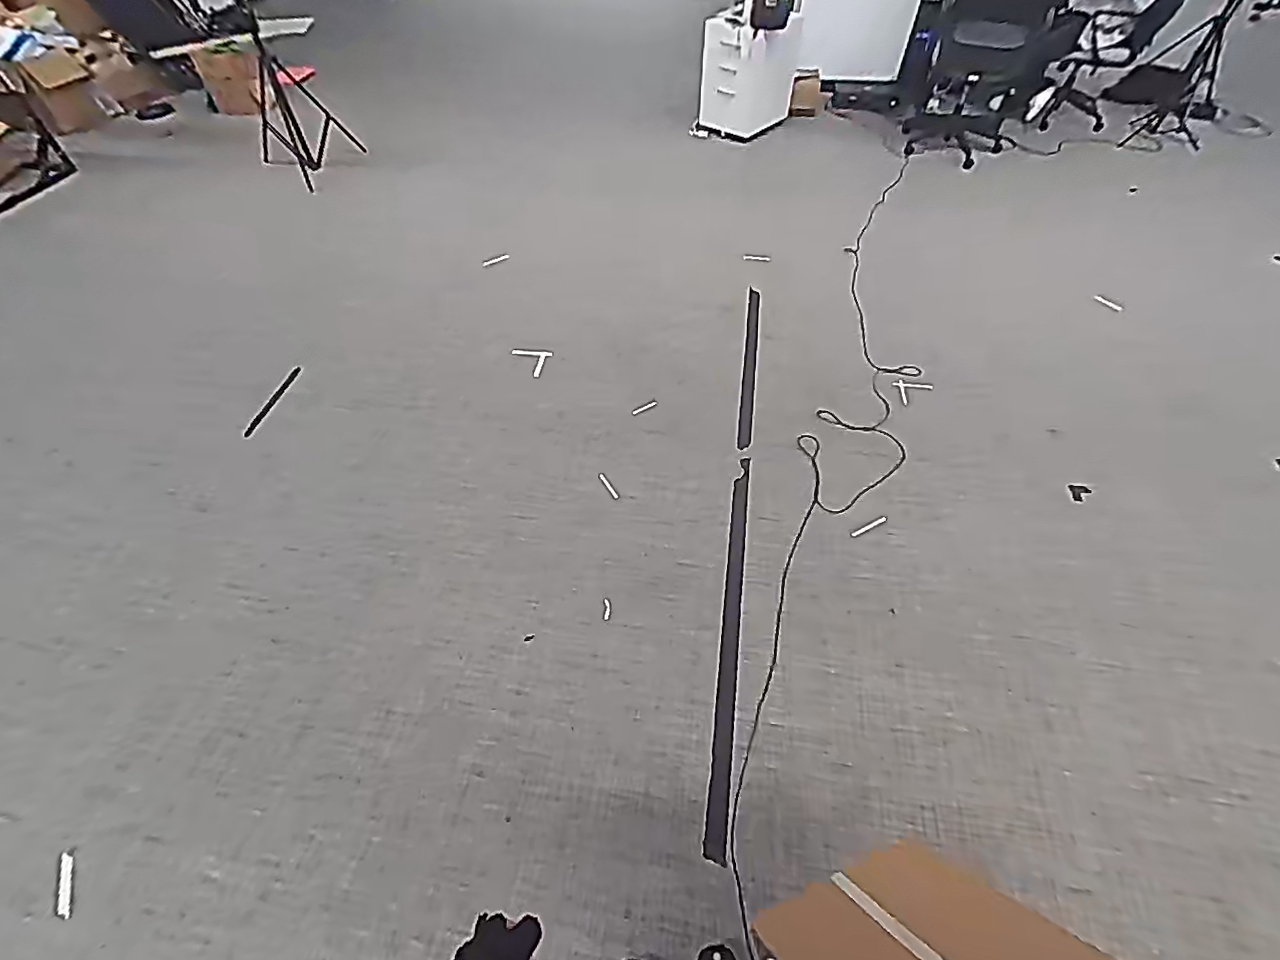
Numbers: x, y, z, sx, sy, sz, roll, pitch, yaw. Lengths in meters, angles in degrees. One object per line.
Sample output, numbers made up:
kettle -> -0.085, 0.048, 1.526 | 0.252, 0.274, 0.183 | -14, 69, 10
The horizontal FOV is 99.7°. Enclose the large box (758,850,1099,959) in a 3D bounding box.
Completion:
large box -> 0.396, 0.739, 0.641 | 0.320, 0.408, 0.320 | -14, 81, -14
